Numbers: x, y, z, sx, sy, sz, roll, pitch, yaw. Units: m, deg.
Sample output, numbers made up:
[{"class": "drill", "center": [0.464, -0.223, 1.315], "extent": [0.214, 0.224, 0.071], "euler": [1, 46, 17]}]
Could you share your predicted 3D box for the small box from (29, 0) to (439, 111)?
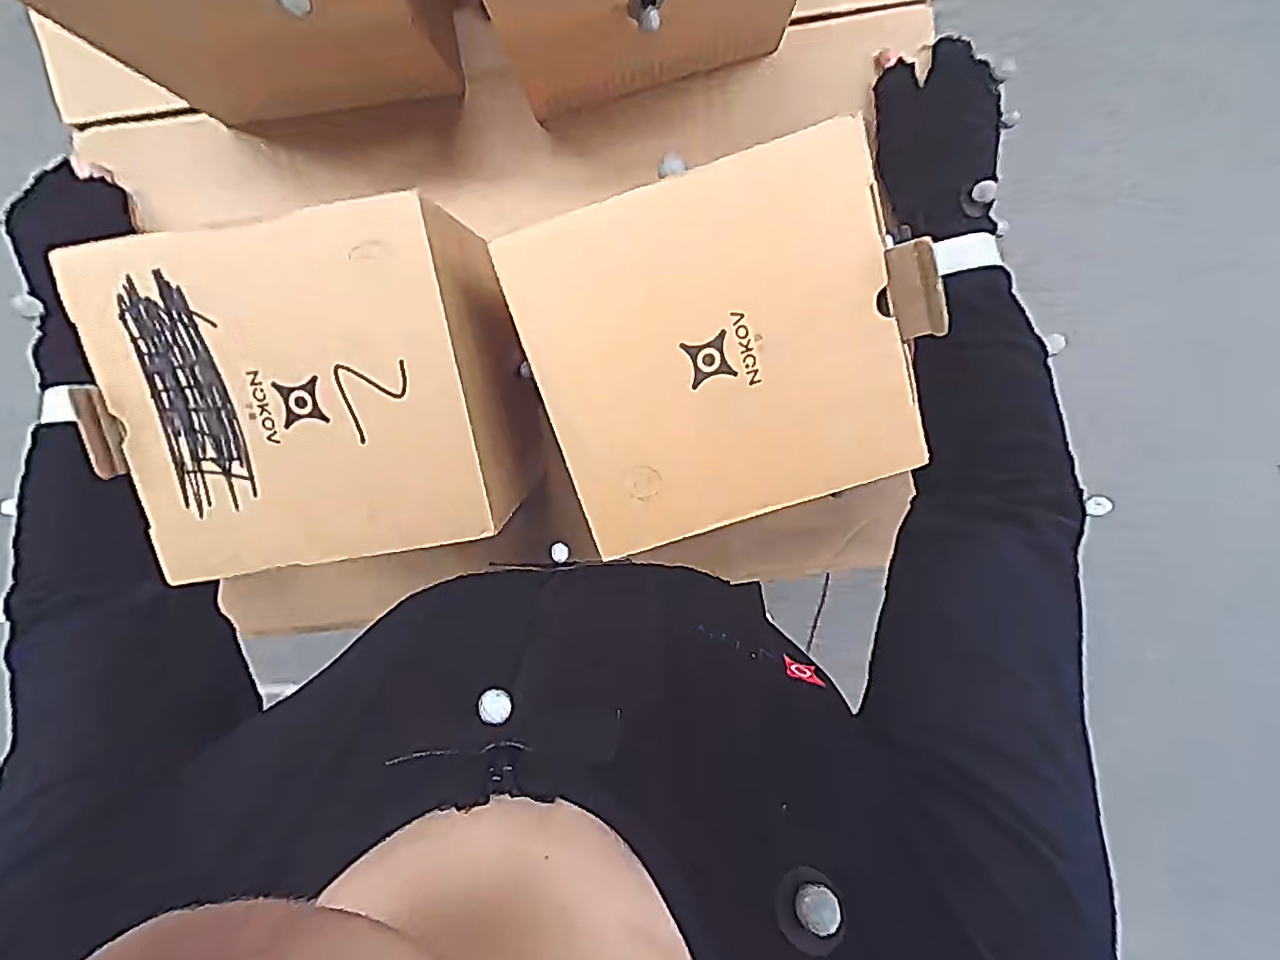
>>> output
[{"class": "small box", "center": [-0.223, -0.330, 0.287], "extent": [0.179, 0.176, 0.168], "euler": [-6, 101, 2]}]
